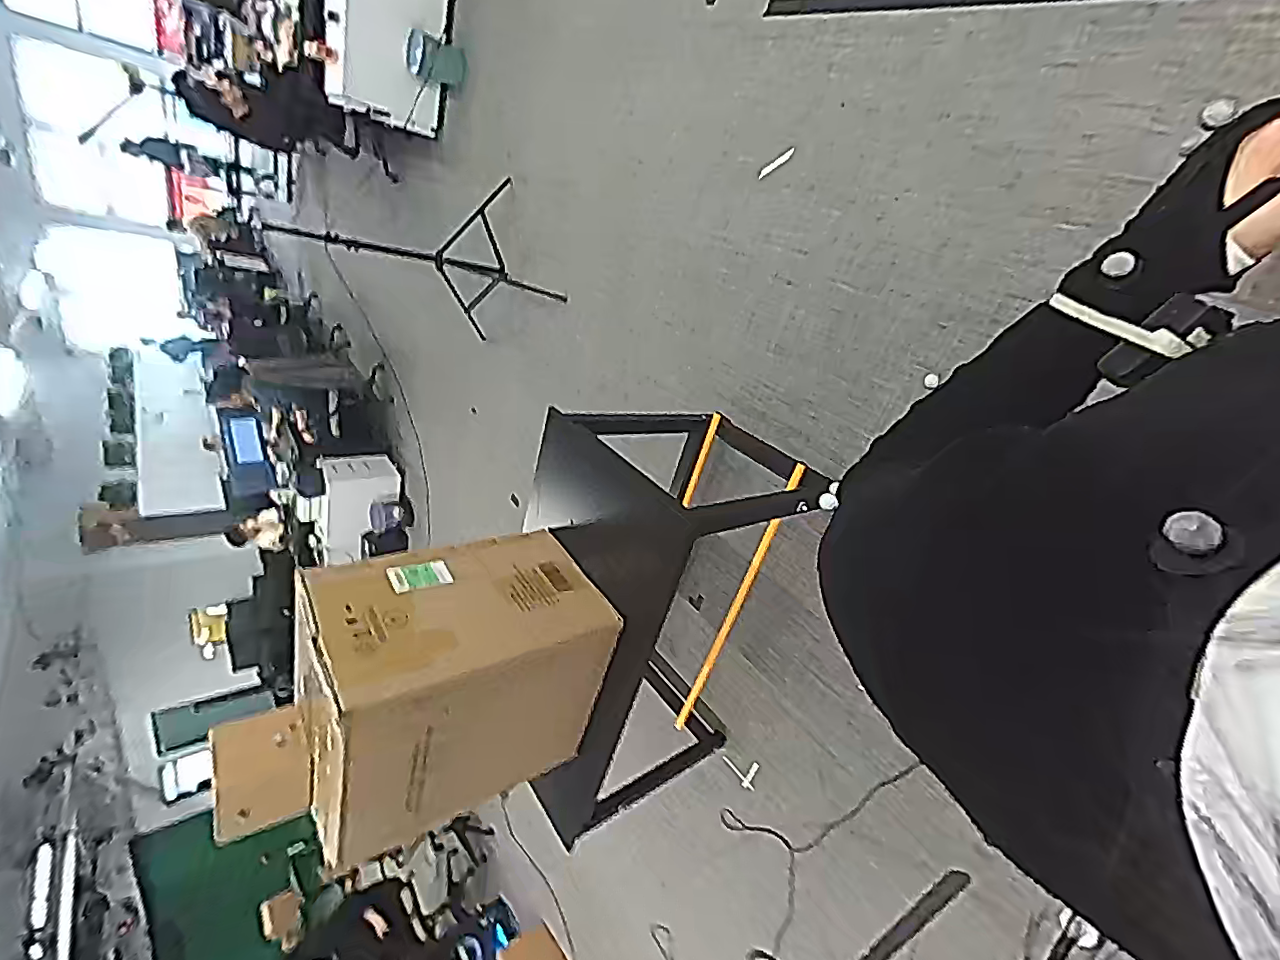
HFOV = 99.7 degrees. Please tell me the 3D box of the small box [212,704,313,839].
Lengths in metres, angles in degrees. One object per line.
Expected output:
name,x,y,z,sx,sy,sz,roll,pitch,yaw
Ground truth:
small box,-0.832,0.634,1.194,0.168,0.176,0.179,42,123,40
